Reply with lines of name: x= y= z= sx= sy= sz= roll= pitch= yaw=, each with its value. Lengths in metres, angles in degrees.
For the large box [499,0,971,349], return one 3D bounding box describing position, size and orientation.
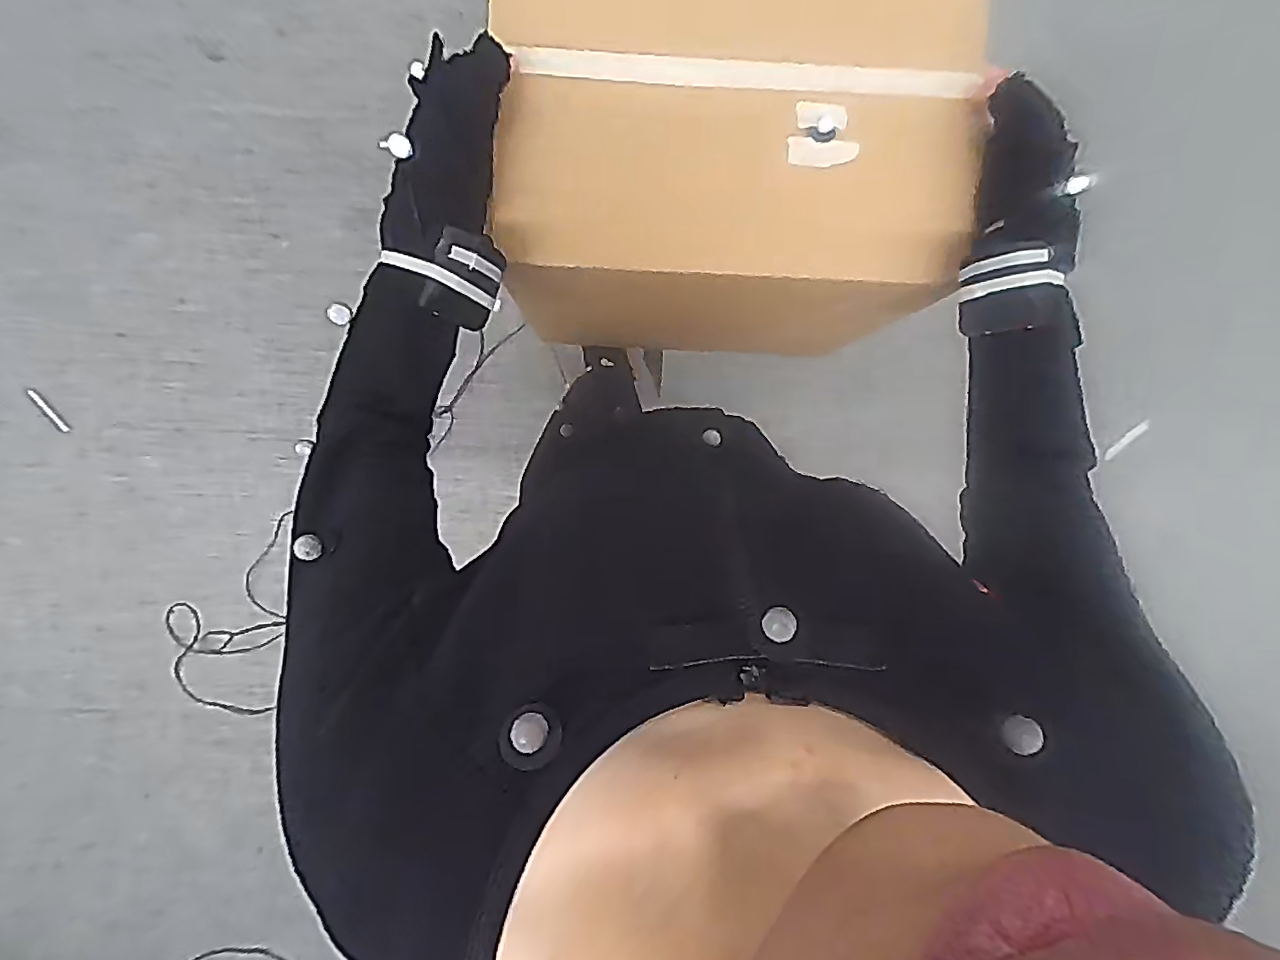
large box: x=0.074 y=-0.337 z=0.604 sx=0.408 sy=0.320 sz=0.320 roll=2 pitch=92 yaw=-2
